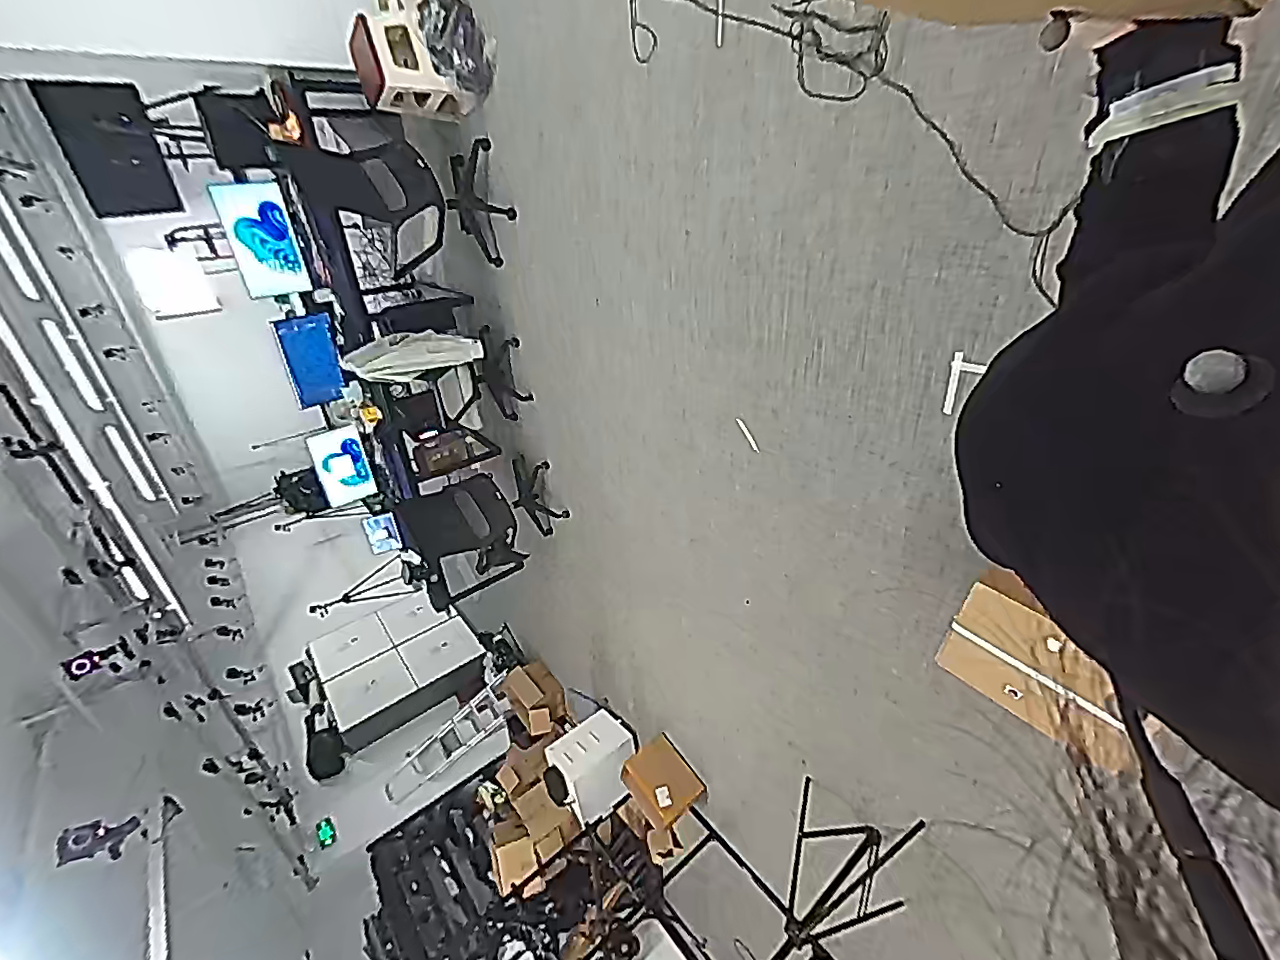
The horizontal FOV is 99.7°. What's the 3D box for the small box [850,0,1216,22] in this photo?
[{"bbox_3d":[0.227,-0.340,0.262,0.179,0.176,0.168,37,138,38],"label":"small box"}]
